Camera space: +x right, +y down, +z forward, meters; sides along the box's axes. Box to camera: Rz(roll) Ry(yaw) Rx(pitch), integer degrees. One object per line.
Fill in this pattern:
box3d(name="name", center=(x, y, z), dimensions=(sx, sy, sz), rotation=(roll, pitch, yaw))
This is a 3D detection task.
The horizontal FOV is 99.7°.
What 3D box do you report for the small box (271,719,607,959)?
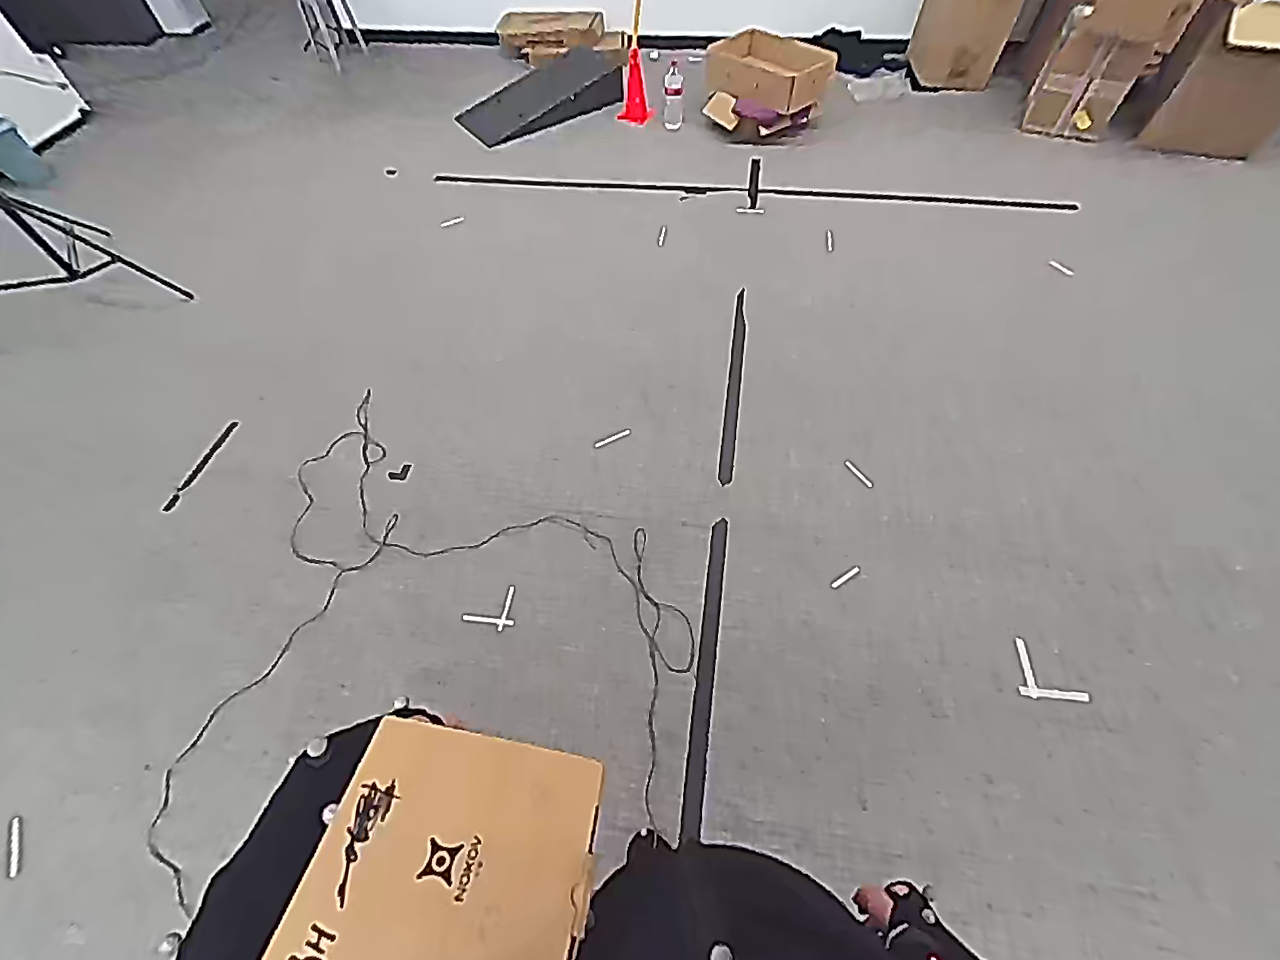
box3d(name="small box", center=(-0.136, 0.315, 0.413), dimensions=(0.179, 0.176, 0.168), rotation=(14, 42, -1))
